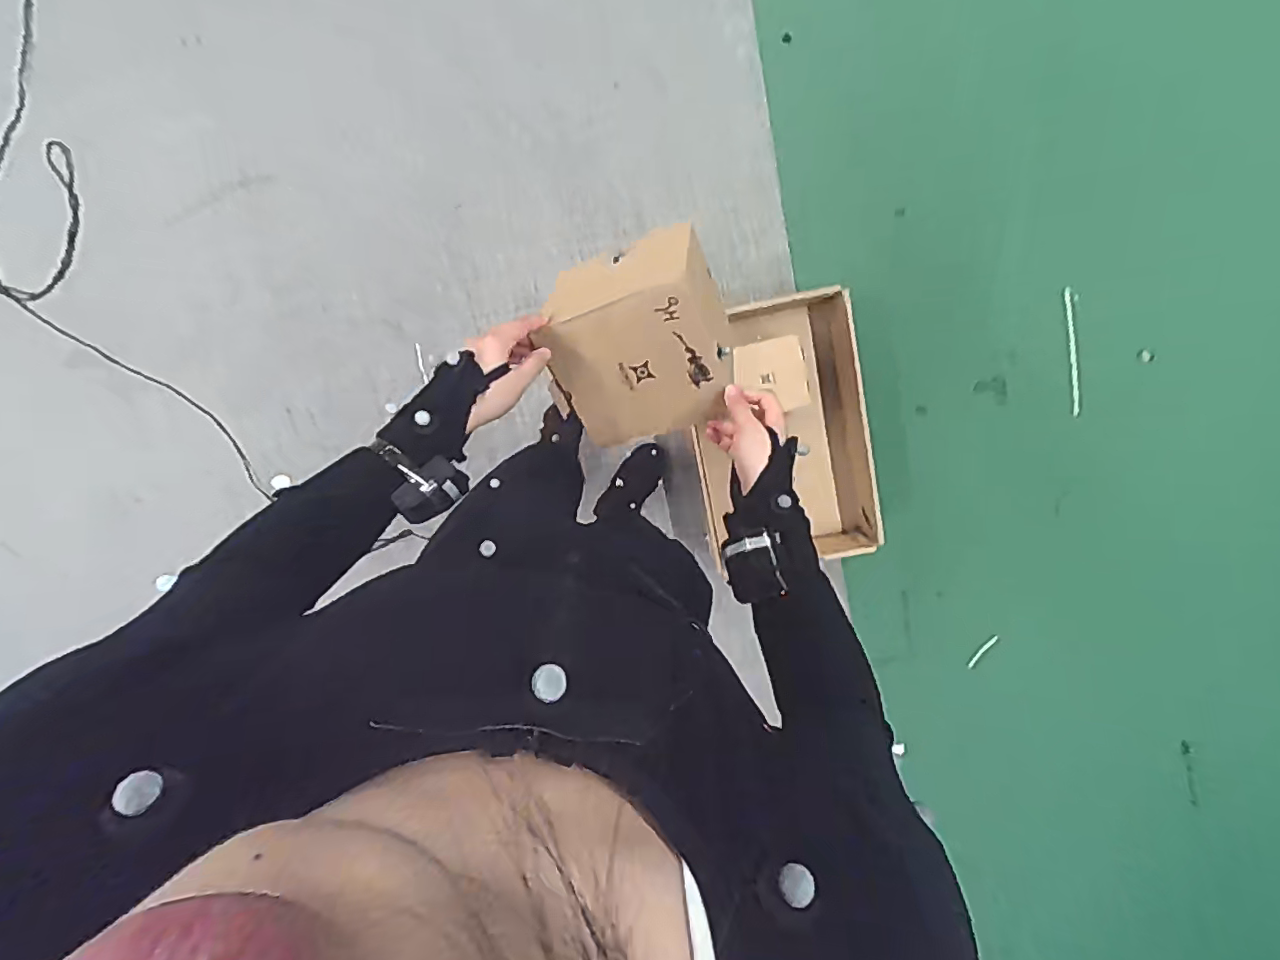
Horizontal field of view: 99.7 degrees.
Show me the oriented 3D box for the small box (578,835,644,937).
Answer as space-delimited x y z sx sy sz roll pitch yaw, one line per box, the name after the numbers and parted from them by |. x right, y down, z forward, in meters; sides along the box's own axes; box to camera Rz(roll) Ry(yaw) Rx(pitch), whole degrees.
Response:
-0.080 1.178 1.576 0.168 0.176 0.179 -6 99 3 | small box

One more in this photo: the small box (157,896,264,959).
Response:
-1.320 1.438 1.672 0.179 0.176 0.168 -10 99 3 | small box

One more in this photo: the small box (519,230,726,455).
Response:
-0.006 -0.159 0.630 0.179 0.176 0.168 -14 128 21 | small box
